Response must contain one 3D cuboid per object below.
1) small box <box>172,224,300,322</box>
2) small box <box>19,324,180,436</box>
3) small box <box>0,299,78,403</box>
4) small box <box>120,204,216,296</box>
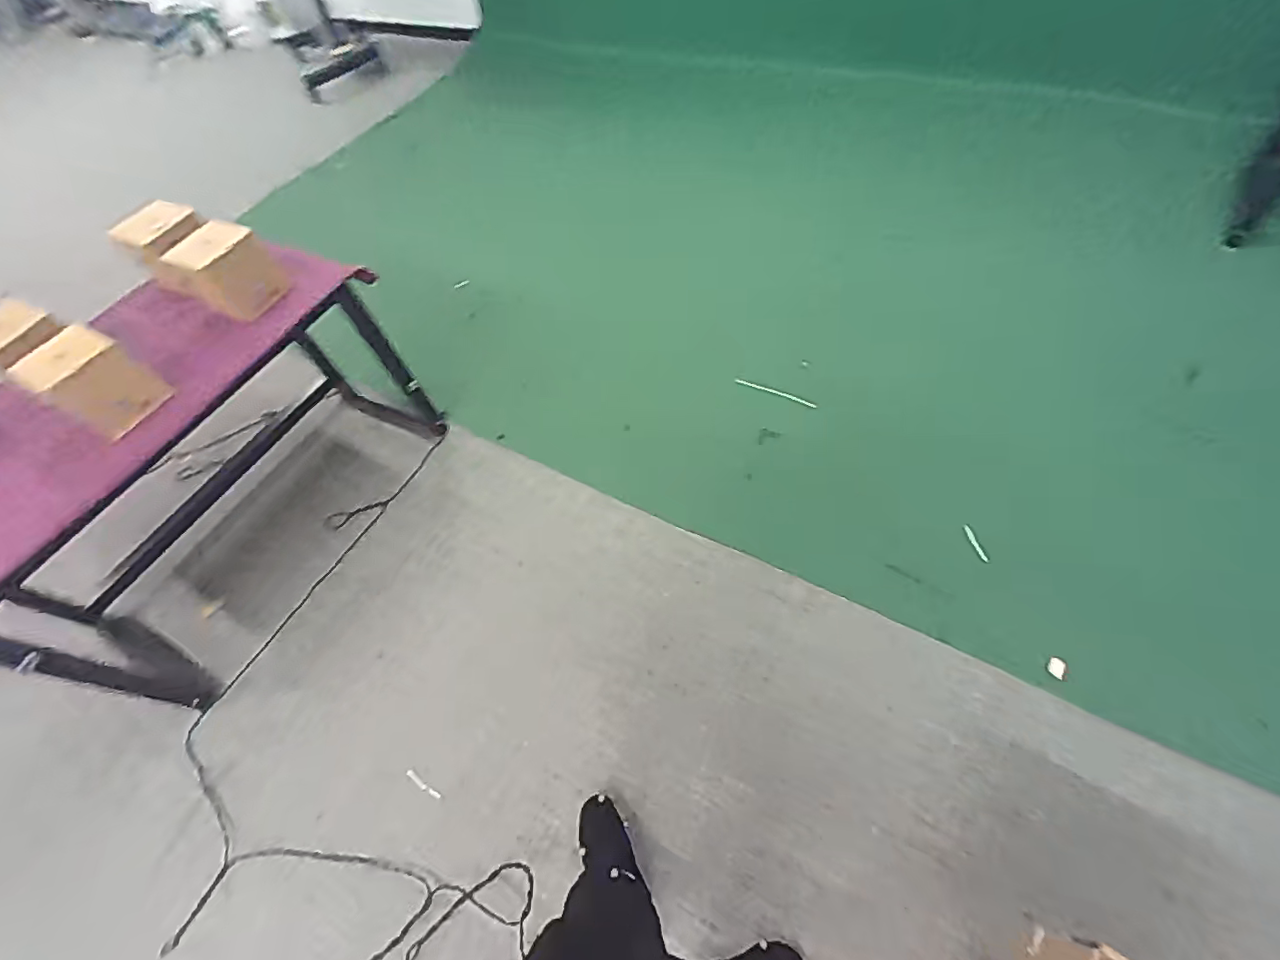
[{"bbox_3d":[-1.060,-0.545,1.431,0.179,0.176,0.168,21,64,21],"label":"small box"},{"bbox_3d":[-1.244,-0.228,1.255,0.179,0.176,0.168,23,63,22],"label":"small box"},{"bbox_3d":[-1.490,-0.318,1.350,0.179,0.176,0.168,20,63,19],"label":"small box"},{"bbox_3d":[-1.291,-0.650,1.536,0.179,0.176,0.168,20,63,20],"label":"small box"}]
